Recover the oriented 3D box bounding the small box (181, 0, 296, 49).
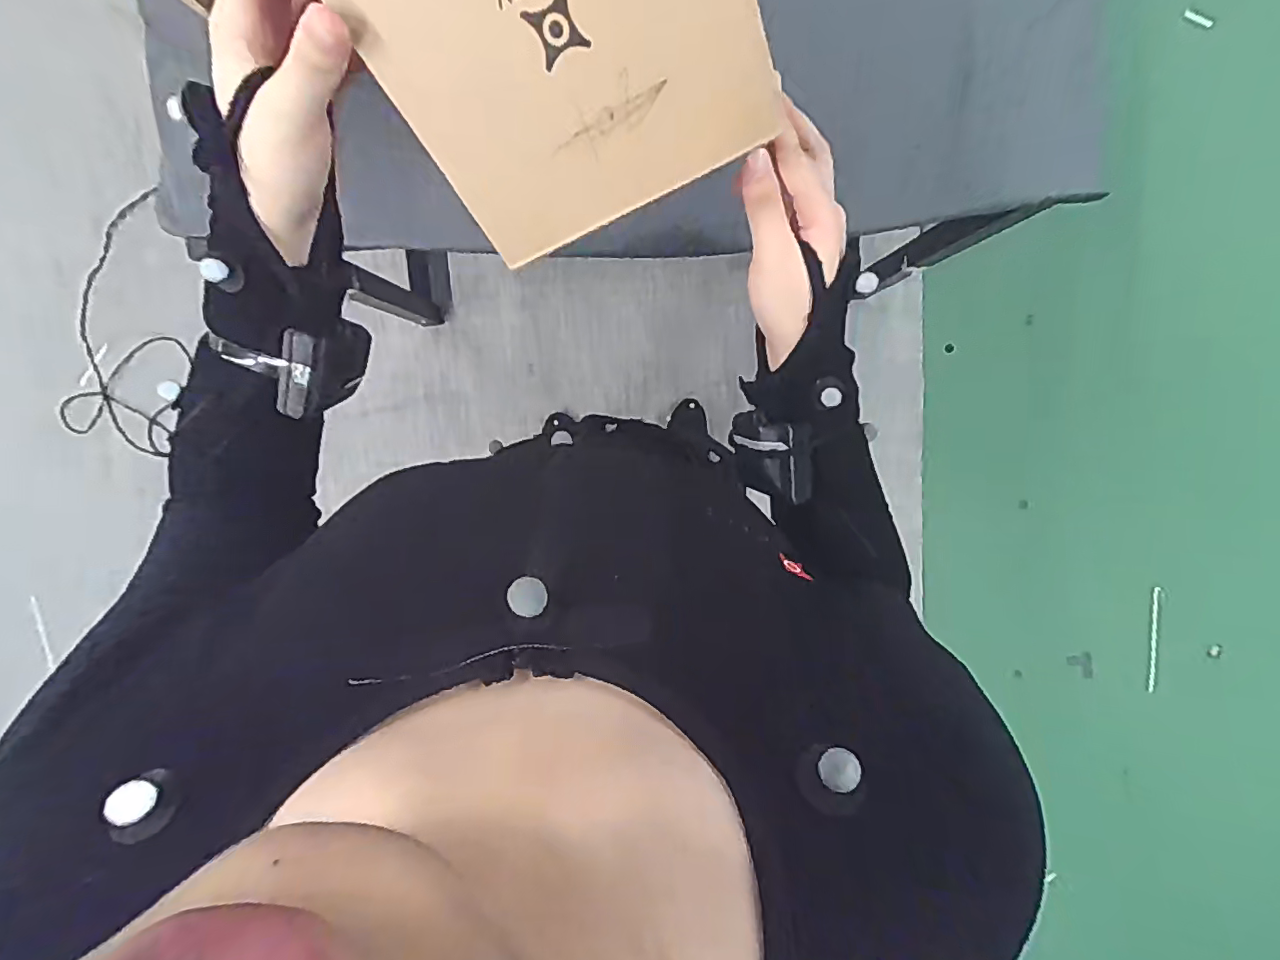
[{"bbox_3d":[-0.499,-0.633,0.585,0.179,0.176,0.168,36,96,-5],"label":"small box"}]

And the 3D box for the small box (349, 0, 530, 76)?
[{"bbox_3d":[-0.200,-0.482,0.440,0.168,0.176,0.179,-39,95,5],"label":"small box"}]
